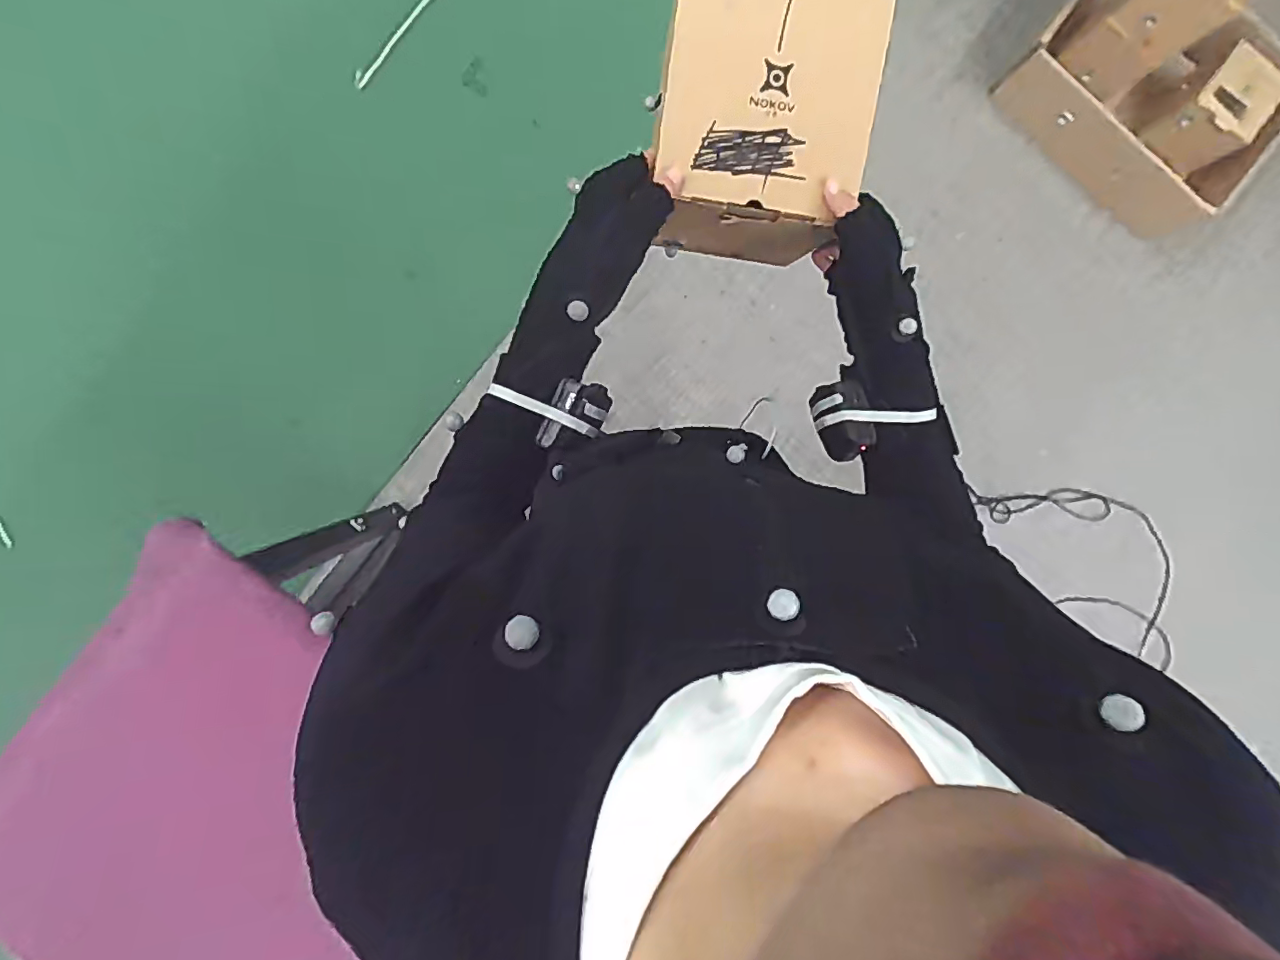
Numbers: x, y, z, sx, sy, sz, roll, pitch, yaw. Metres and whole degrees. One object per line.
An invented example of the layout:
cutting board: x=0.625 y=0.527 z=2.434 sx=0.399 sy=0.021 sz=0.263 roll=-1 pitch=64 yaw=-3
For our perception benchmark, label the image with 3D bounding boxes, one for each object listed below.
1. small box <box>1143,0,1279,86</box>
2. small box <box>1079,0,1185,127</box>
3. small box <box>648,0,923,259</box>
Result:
small box: x=1.248 y=-1.005 z=1.149 sx=0.168 sy=0.176 sz=0.179 roll=41 pitch=91 yaw=-7
small box: x=1.234 y=-1.019 z=1.310 sx=0.168 sy=0.176 sz=0.179 roll=42 pitch=91 yaw=-7
small box: x=0.107 y=-0.314 z=0.484 sx=0.168 sy=0.176 sz=0.179 roll=11 pitch=101 yaw=-8
